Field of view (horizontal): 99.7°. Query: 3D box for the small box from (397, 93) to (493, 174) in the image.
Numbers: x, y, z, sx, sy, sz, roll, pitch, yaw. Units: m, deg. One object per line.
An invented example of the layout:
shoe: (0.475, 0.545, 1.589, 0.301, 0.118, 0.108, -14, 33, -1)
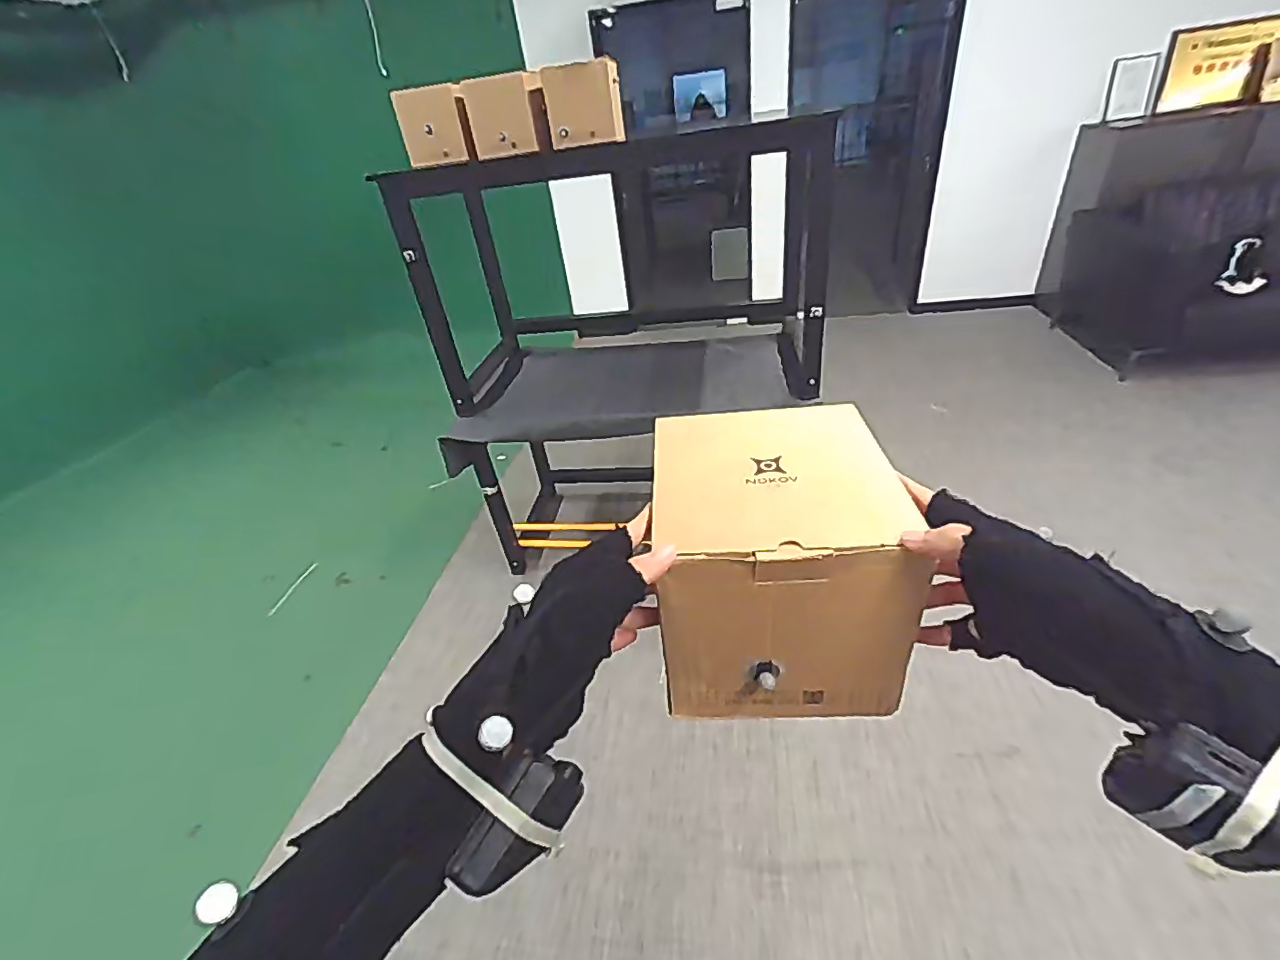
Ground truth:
small box: (-0.520, -0.941, 1.474, 0.168, 0.176, 0.179, 0, 34, 10)

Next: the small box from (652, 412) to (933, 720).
small box: (0.099, 0.063, 0.429, 0.168, 0.176, 0.179, -4, 34, 5)

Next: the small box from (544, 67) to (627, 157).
small box: (-0.131, -0.939, 1.388, 0.168, 0.176, 0.179, -3, 33, 8)
